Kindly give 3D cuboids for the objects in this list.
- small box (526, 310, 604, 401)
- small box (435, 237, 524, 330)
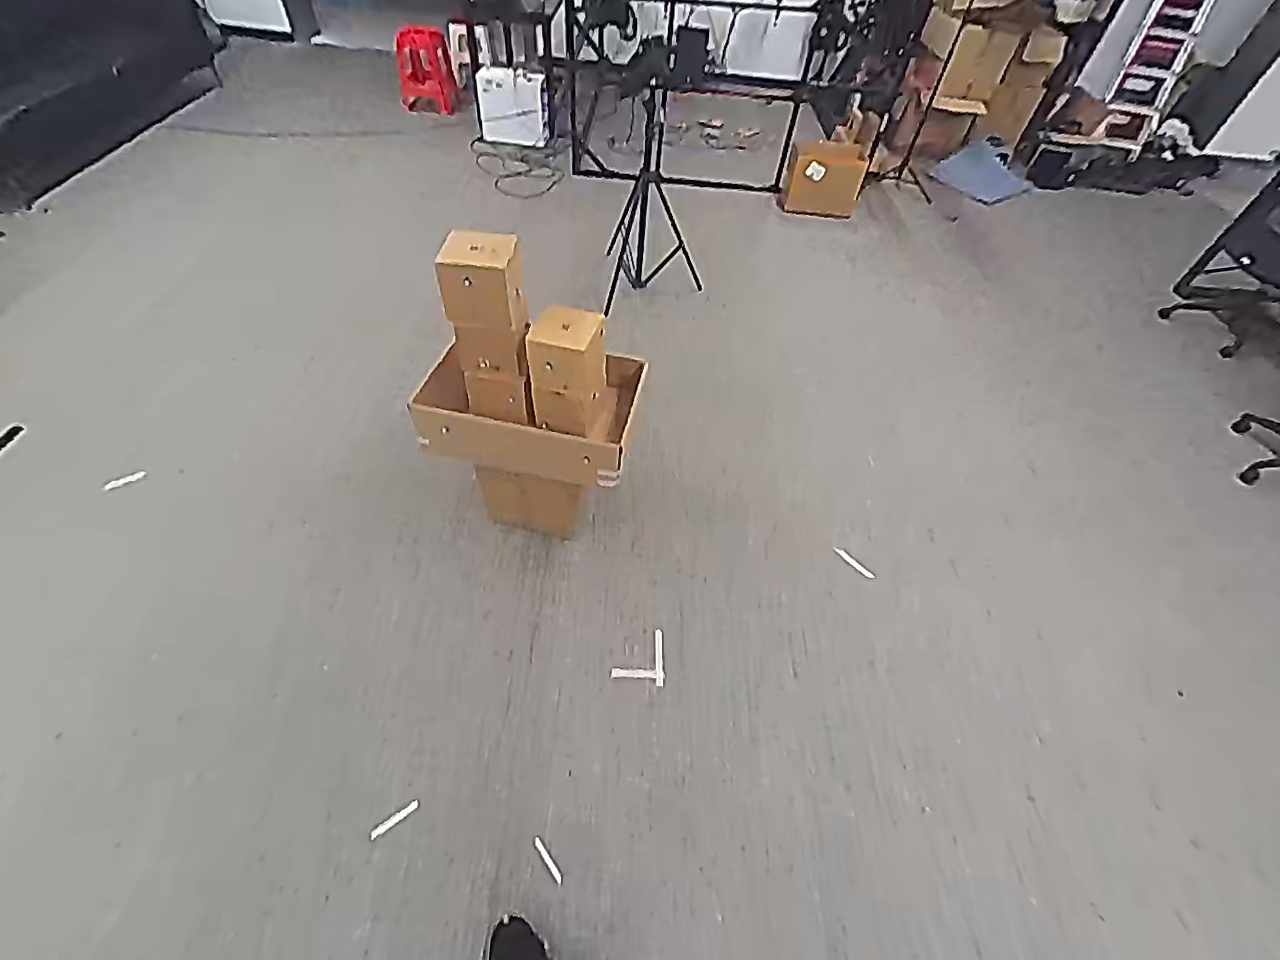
[{"bbox_3d":[-0.199,-0.344,1.505,0.168,0.176,0.179,13,49,8],"label":"small box"},{"bbox_3d":[-0.409,-0.510,1.410,0.179,0.176,0.168,5,50,-1],"label":"small box"}]
